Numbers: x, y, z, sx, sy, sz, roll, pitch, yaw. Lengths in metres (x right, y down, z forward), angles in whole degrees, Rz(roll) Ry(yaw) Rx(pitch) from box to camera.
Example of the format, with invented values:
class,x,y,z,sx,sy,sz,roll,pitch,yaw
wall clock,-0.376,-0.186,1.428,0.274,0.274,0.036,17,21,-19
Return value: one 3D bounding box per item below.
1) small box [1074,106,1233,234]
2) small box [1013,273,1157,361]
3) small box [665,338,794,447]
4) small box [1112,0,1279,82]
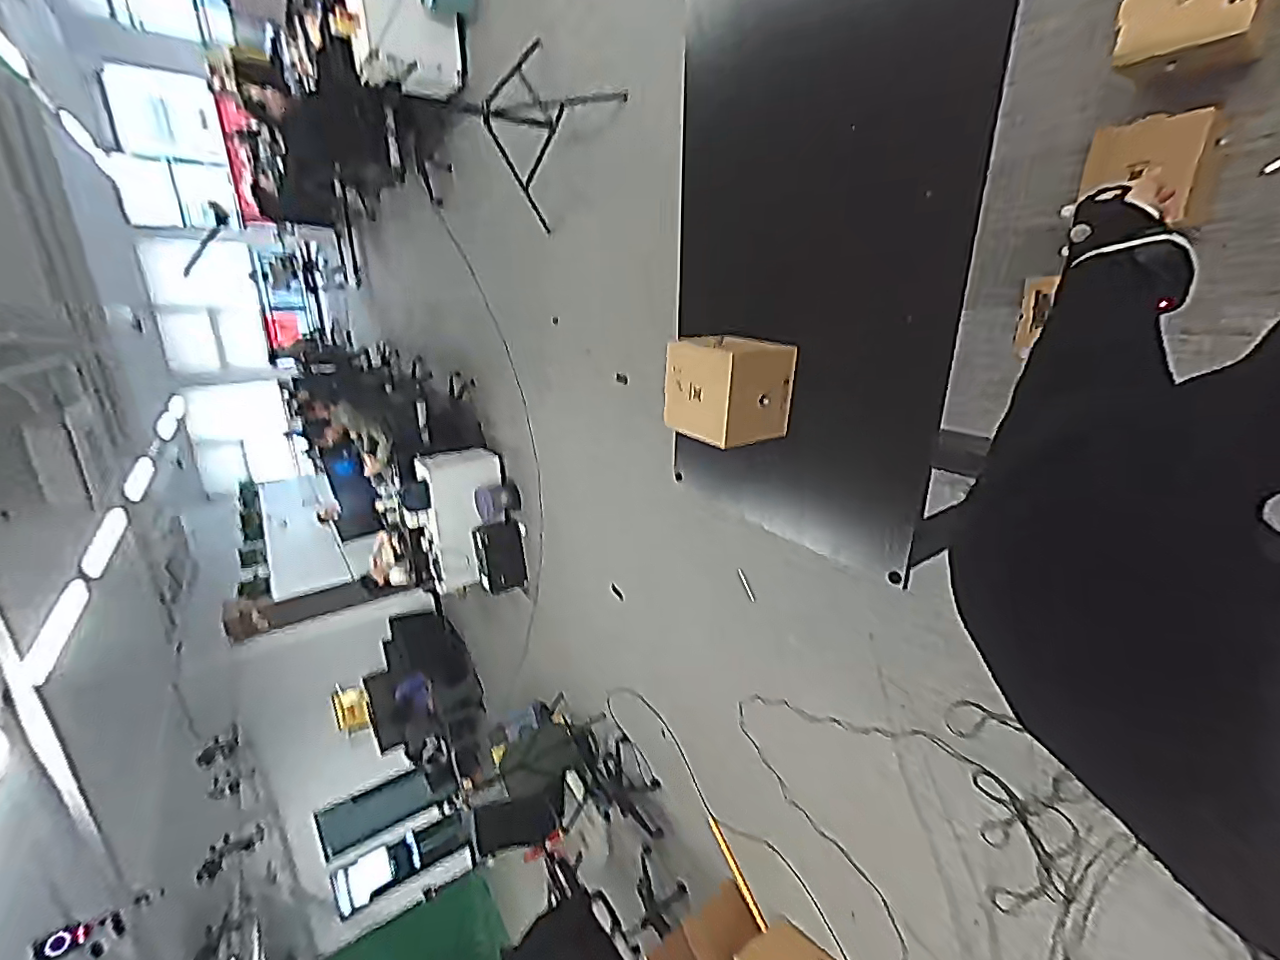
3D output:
class,x,y,z,sx,sy,sz,roll,pitch,yaw
small box,0.970,-0.571,1.022,0.168,0.176,0.179,25,122,52
small box,0.938,-0.347,1.145,0.179,0.176,0.168,23,120,50
small box,0.167,-0.174,1.023,0.179,0.176,0.168,29,124,49
small box,0.970,-0.818,0.931,0.179,0.176,0.168,24,121,51
